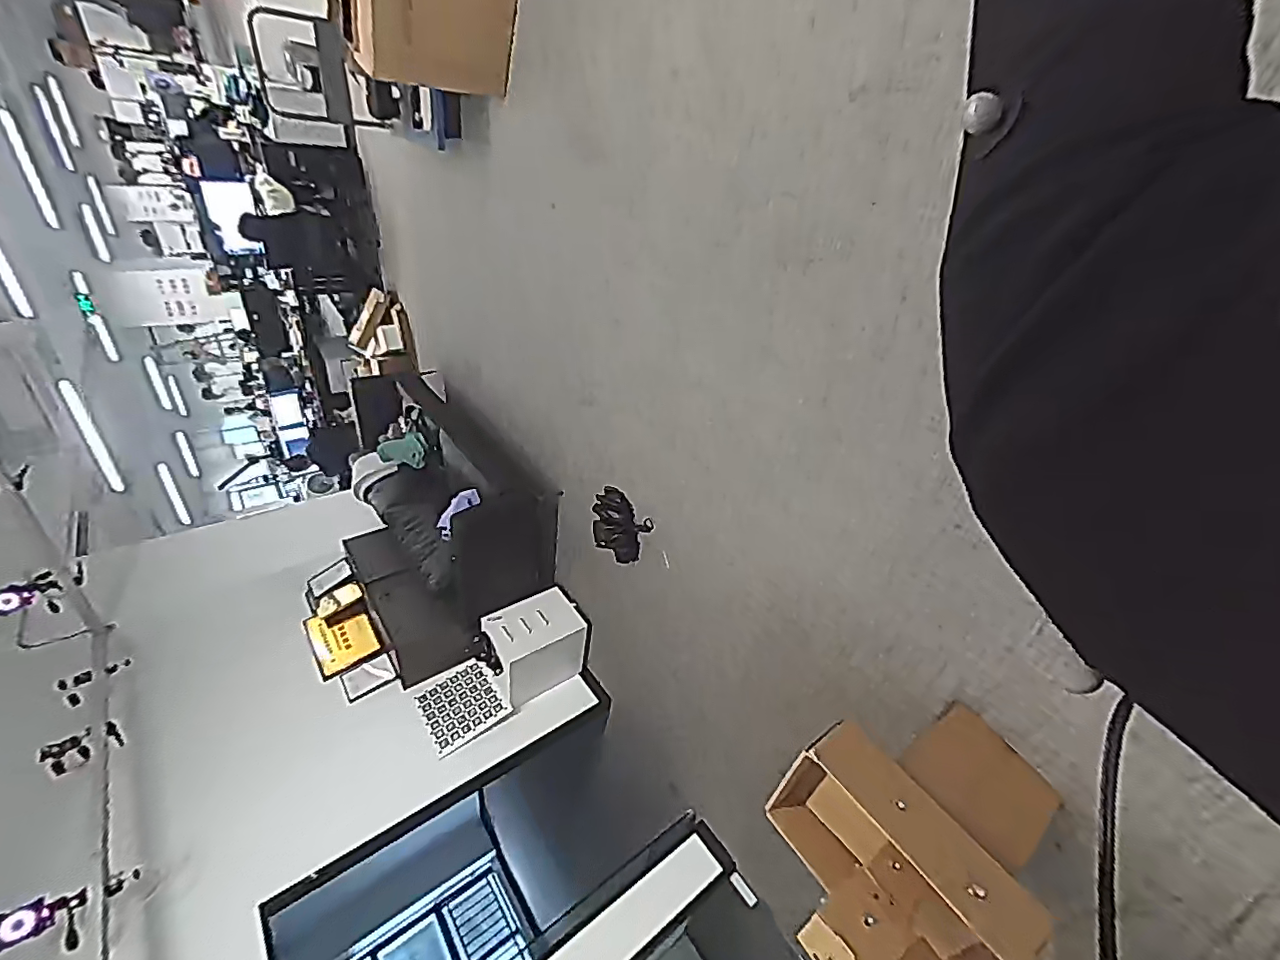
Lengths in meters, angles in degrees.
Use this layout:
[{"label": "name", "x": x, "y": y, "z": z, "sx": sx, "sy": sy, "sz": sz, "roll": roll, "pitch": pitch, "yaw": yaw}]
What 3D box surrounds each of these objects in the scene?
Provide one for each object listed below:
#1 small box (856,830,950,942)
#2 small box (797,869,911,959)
[{"label": "small box", "x": 0.649, "y": 1.039, "z": 1.375, "sx": 0.168, "sy": 0.176, "sz": 0.179, "roll": 44, "pitch": 140, "yaw": 38}, {"label": "small box", "x": 0.514, "y": 1.086, "z": 1.294, "sx": 0.168, "sy": 0.176, "sz": 0.179, "roll": 42, "pitch": 136, "yaw": 40}]
